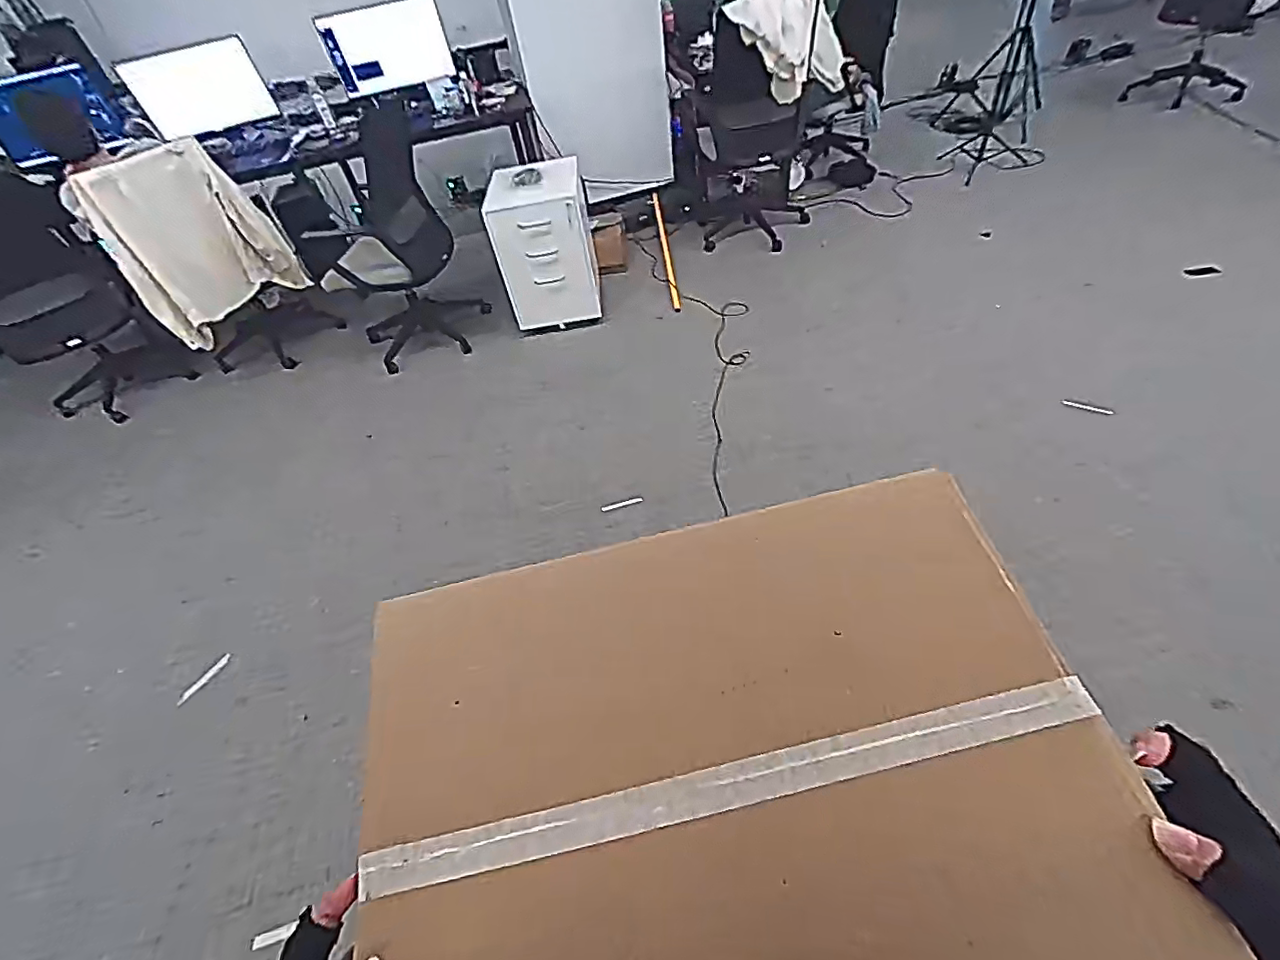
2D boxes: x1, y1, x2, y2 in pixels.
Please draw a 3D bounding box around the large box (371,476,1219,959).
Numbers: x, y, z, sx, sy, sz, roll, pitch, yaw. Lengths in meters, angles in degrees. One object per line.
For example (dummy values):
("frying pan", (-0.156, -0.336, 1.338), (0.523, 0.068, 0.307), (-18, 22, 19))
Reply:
("large box", (0.064, 0.246, 0.431), (0.408, 0.320, 0.320), (-14, 57, 0))
